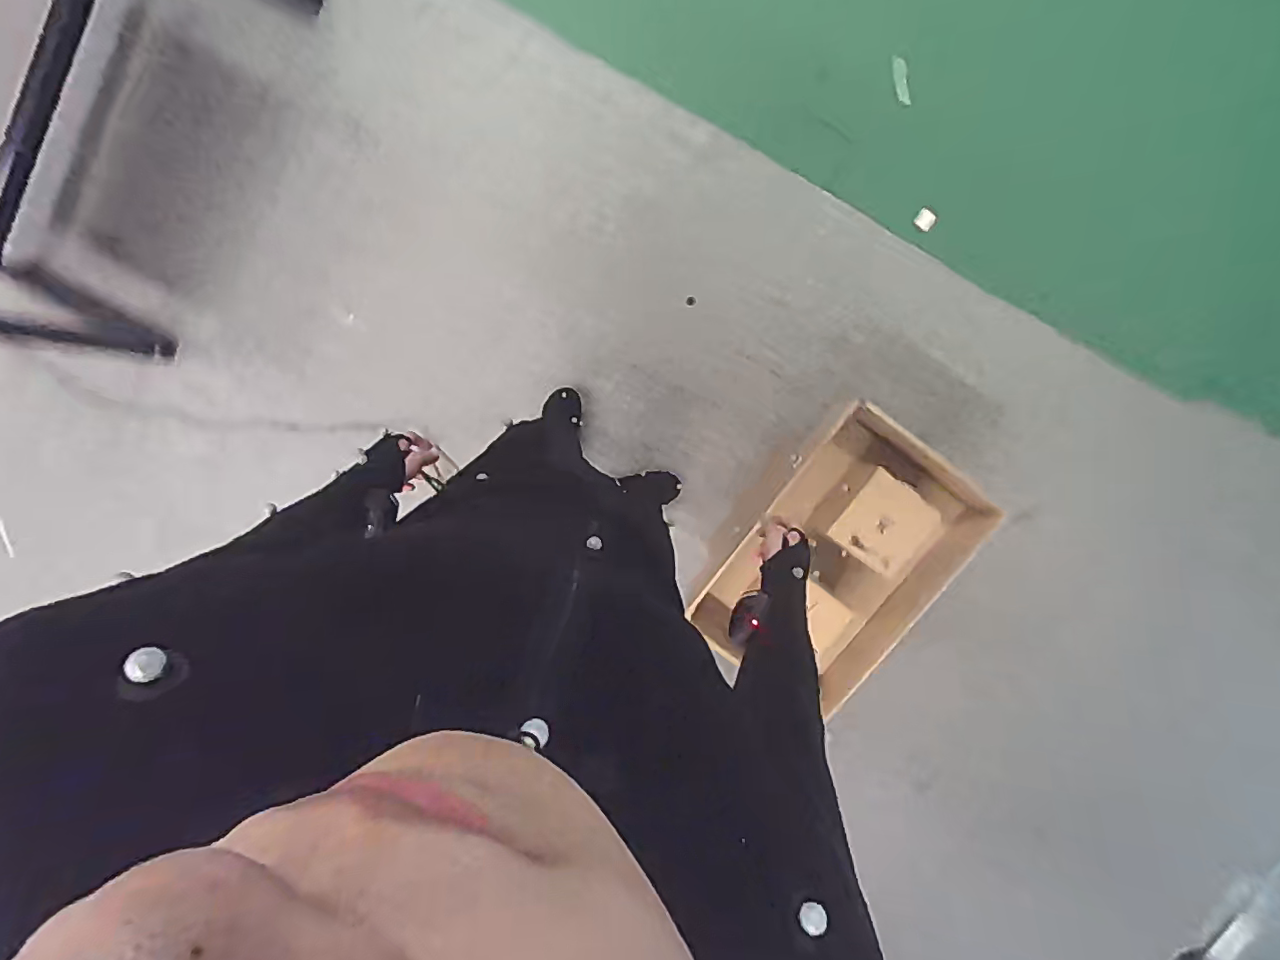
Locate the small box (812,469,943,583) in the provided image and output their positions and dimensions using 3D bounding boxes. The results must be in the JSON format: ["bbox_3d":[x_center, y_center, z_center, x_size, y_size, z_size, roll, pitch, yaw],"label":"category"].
[{"bbox_3d":[0.503,0.089,1.178,0.168,0.176,0.179,38,96,0],"label":"small box"}]
